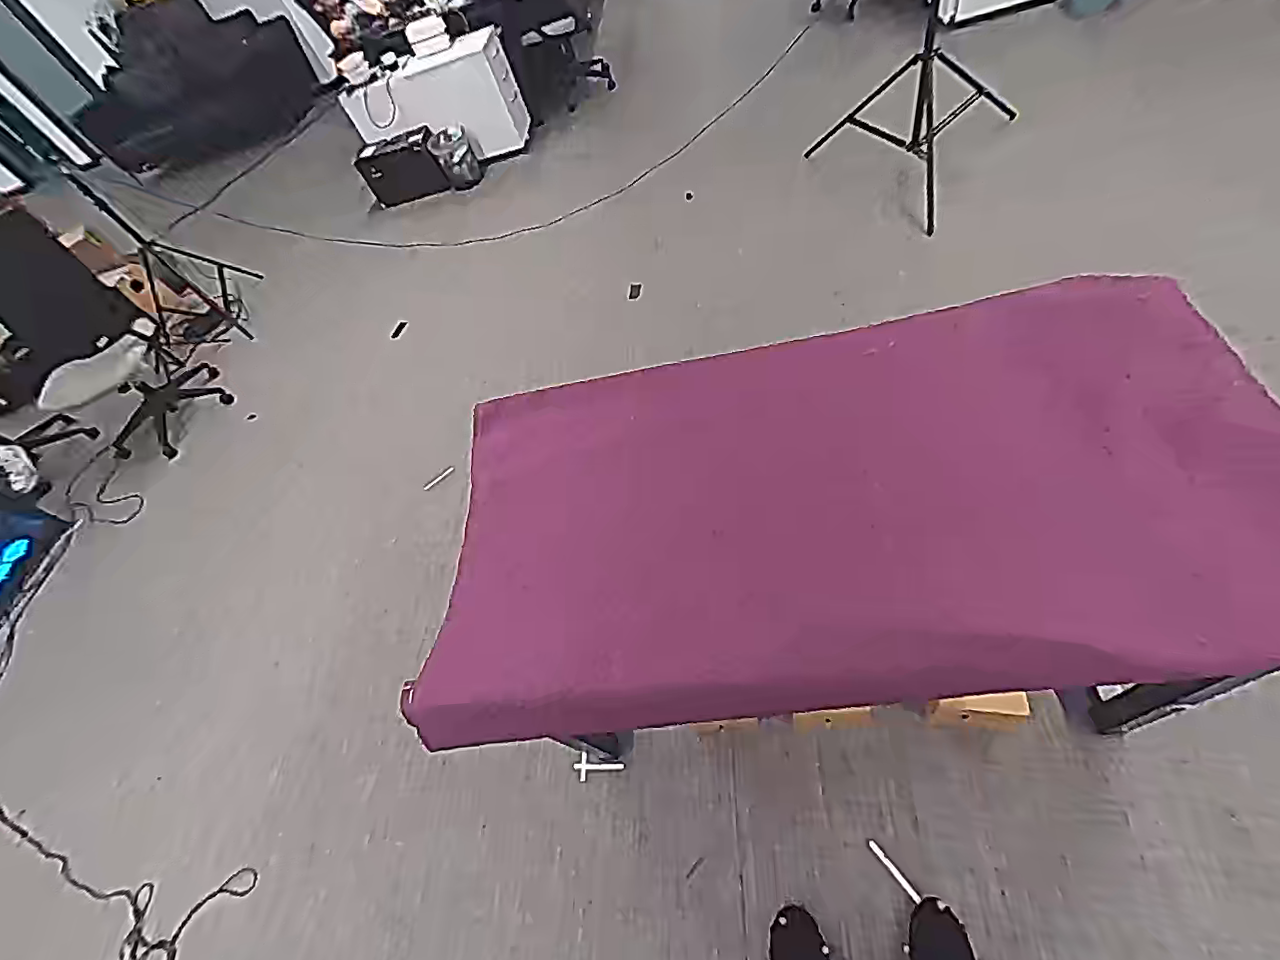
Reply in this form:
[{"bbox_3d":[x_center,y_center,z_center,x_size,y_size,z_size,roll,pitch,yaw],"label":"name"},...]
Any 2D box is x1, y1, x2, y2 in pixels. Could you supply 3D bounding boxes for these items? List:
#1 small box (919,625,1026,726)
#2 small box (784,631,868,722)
[{"bbox_3d":[0.739,0.444,1.221,0.168,0.176,0.179,-1,56,18],"label":"small box"},{"bbox_3d":[0.441,0.476,1.295,0.168,0.176,0.179,-6,54,13],"label":"small box"}]
